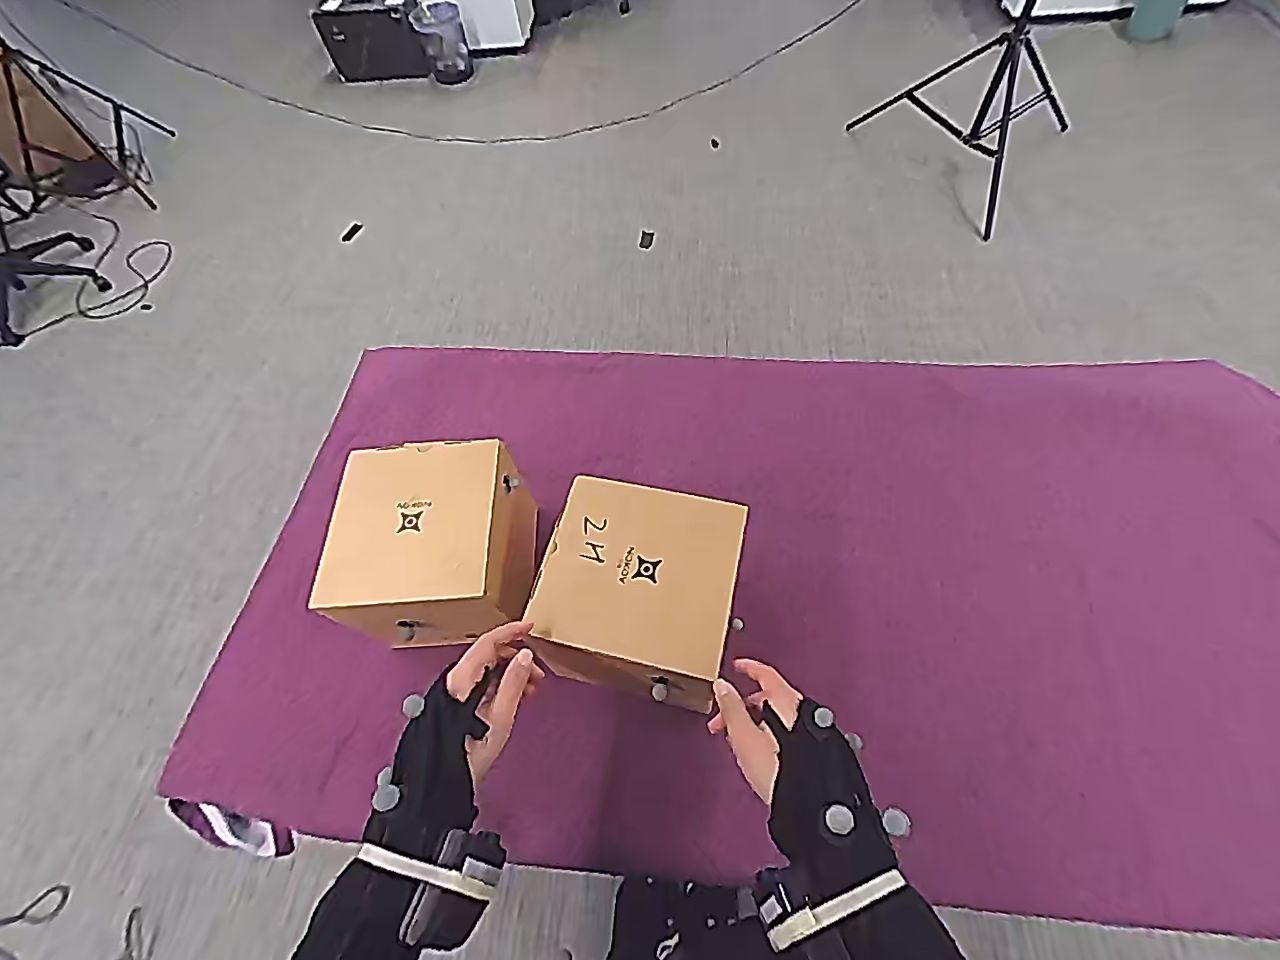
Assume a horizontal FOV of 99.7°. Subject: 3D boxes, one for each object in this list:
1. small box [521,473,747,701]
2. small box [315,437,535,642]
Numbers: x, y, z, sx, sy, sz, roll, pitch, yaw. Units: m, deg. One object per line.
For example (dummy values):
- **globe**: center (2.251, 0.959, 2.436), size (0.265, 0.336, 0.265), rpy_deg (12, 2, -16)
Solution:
- **small box**: center (0.005, 0.117, 0.559), size (0.179, 0.176, 0.168), rpy_deg (10, 59, 11)
- **small box**: center (-0.219, 0.076, 0.606), size (0.168, 0.176, 0.179), rpy_deg (-6, 59, 2)
